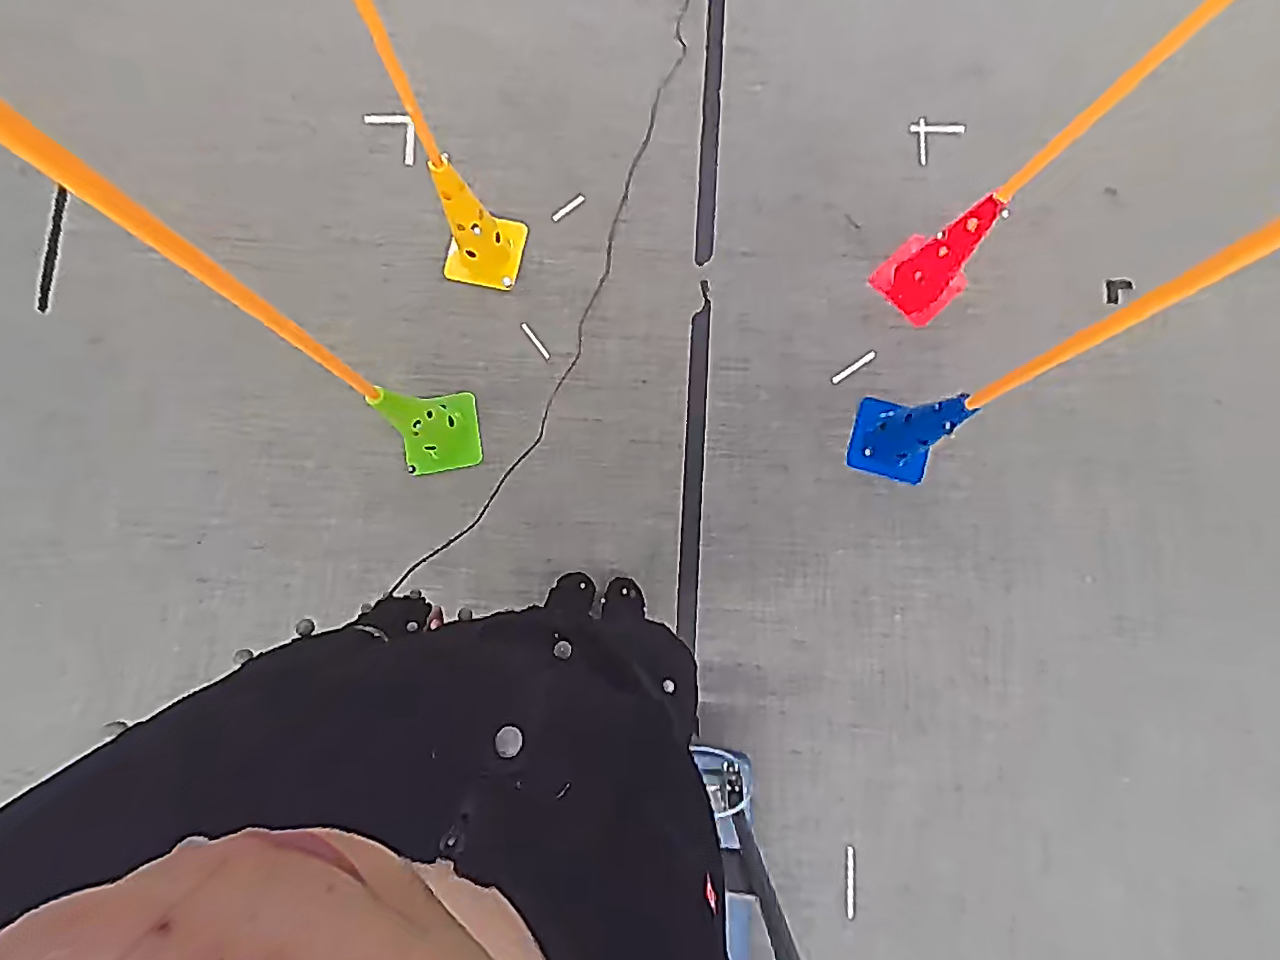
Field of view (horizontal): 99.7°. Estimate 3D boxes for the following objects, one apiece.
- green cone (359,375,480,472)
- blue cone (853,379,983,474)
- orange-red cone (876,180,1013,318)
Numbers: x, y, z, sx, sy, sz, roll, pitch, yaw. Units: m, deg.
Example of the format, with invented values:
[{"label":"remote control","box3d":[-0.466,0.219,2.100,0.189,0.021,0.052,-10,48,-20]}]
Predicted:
[{"label":"green cone","box3d":[-0.528,-0.157,1.242,0.200,0.368,0.202,-11,81,-1]},{"label":"blue cone","box3d":[0.654,-0.143,1.238,0.193,0.380,0.192,18,82,3]},{"label":"orange-red cone","box3d":[0.754,-0.574,1.280,0.199,0.360,0.198,-42,83,-3]}]
